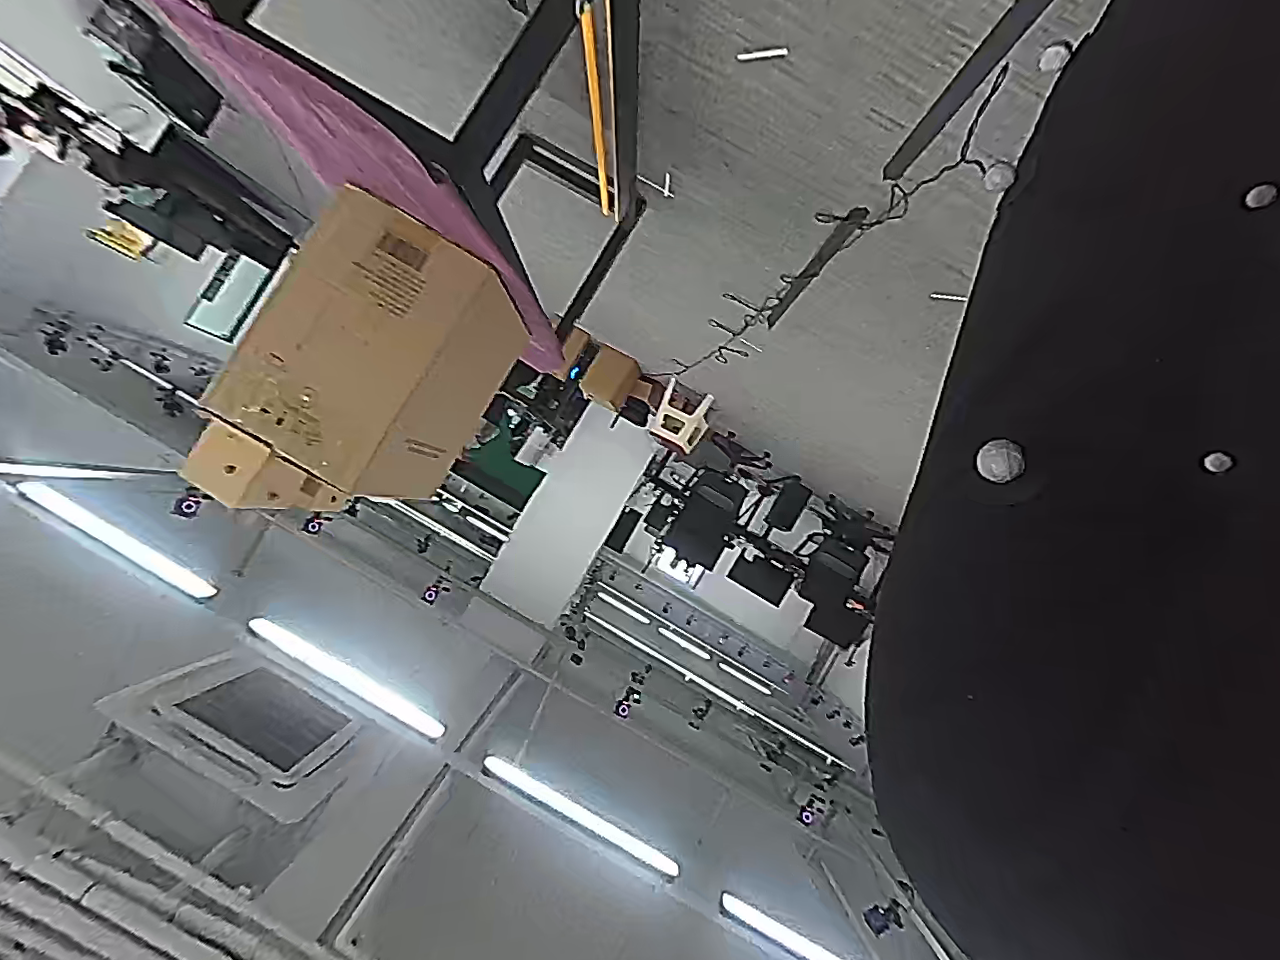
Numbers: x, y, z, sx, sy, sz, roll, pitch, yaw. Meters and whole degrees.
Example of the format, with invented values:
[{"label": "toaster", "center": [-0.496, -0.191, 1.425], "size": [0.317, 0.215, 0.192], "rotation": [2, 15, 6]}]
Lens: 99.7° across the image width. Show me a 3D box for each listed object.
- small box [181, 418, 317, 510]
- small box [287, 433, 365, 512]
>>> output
[{"label": "small box", "center": [-0.949, -0.038, 1.329], "size": [0.168, 0.176, 0.179], "rotation": [30, 179, 5]}, {"label": "small box", "center": [-0.943, -0.019, 1.572], "size": [0.168, 0.176, 0.179], "rotation": [28, 175, 1]}]
